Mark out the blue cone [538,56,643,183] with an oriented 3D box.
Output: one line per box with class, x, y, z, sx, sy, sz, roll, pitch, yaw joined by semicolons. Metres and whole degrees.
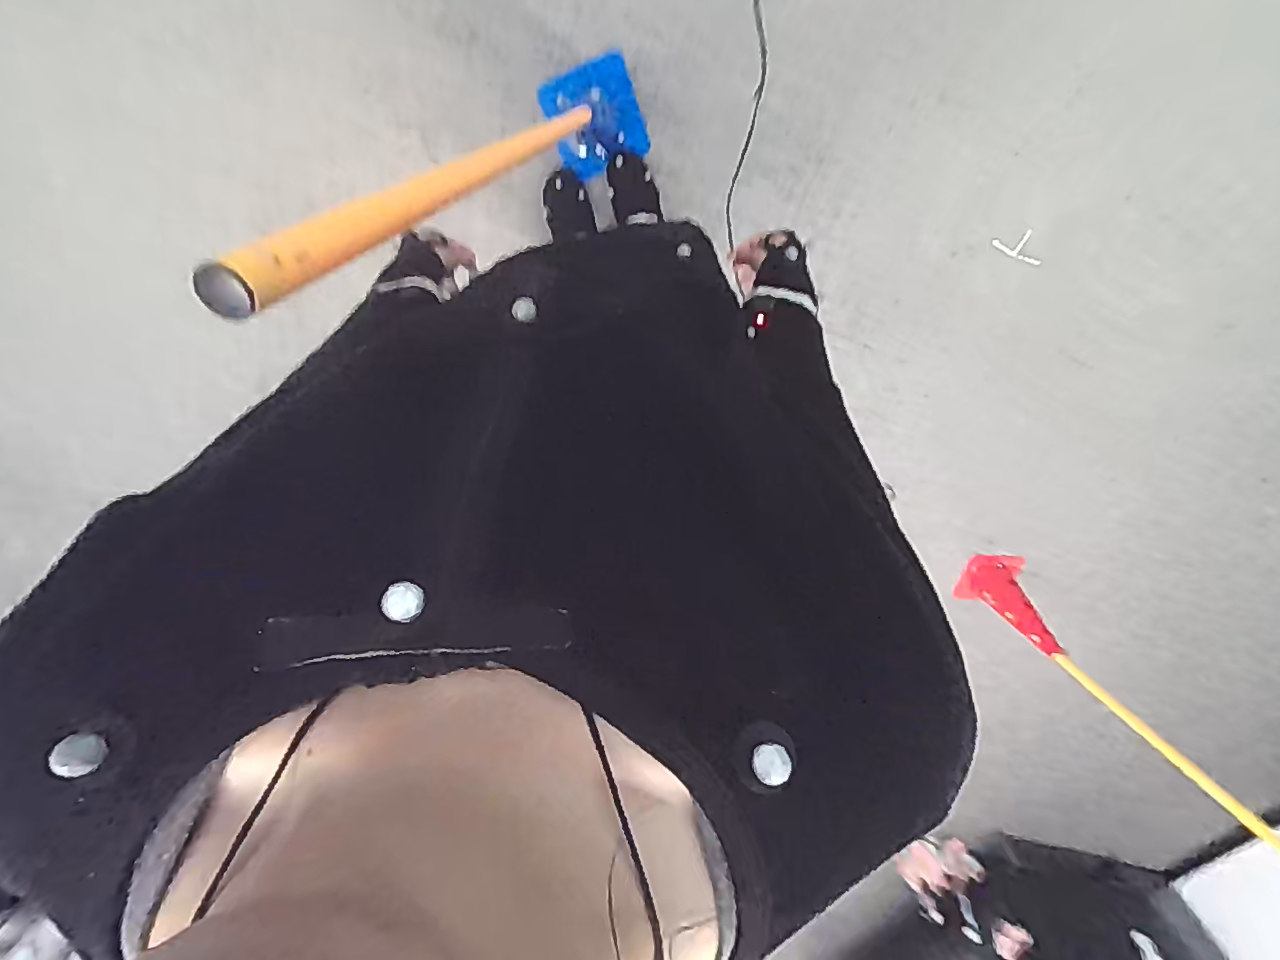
blue cone;-0.099;-0.672;1.021;0.193;0.380;0.192;-19;121;11
